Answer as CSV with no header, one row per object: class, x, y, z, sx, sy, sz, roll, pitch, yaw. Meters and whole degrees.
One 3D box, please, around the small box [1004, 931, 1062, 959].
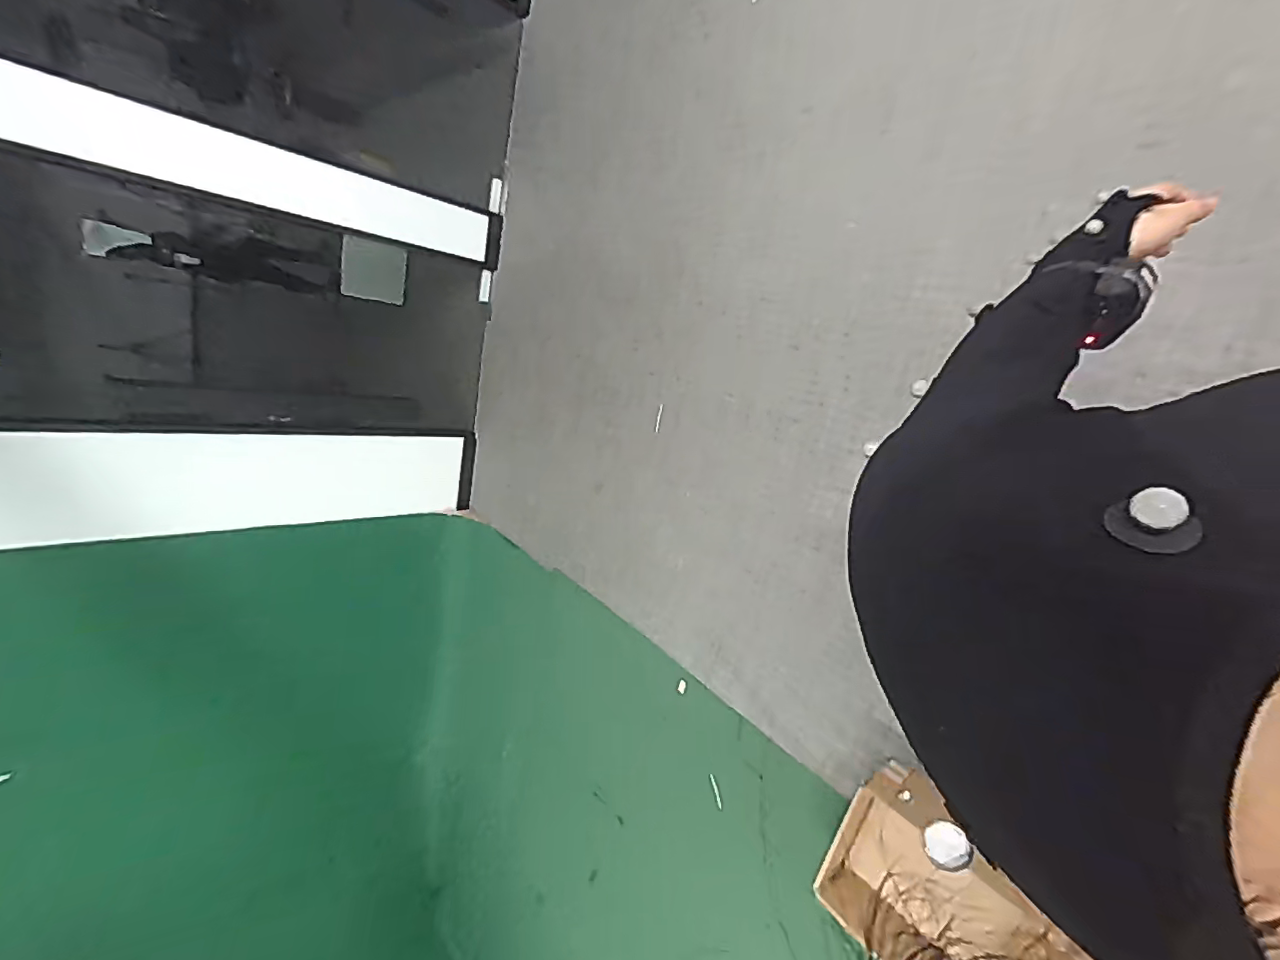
small box,0.873,1.150,1.175,0.168,0.176,0.179,29,112,43
